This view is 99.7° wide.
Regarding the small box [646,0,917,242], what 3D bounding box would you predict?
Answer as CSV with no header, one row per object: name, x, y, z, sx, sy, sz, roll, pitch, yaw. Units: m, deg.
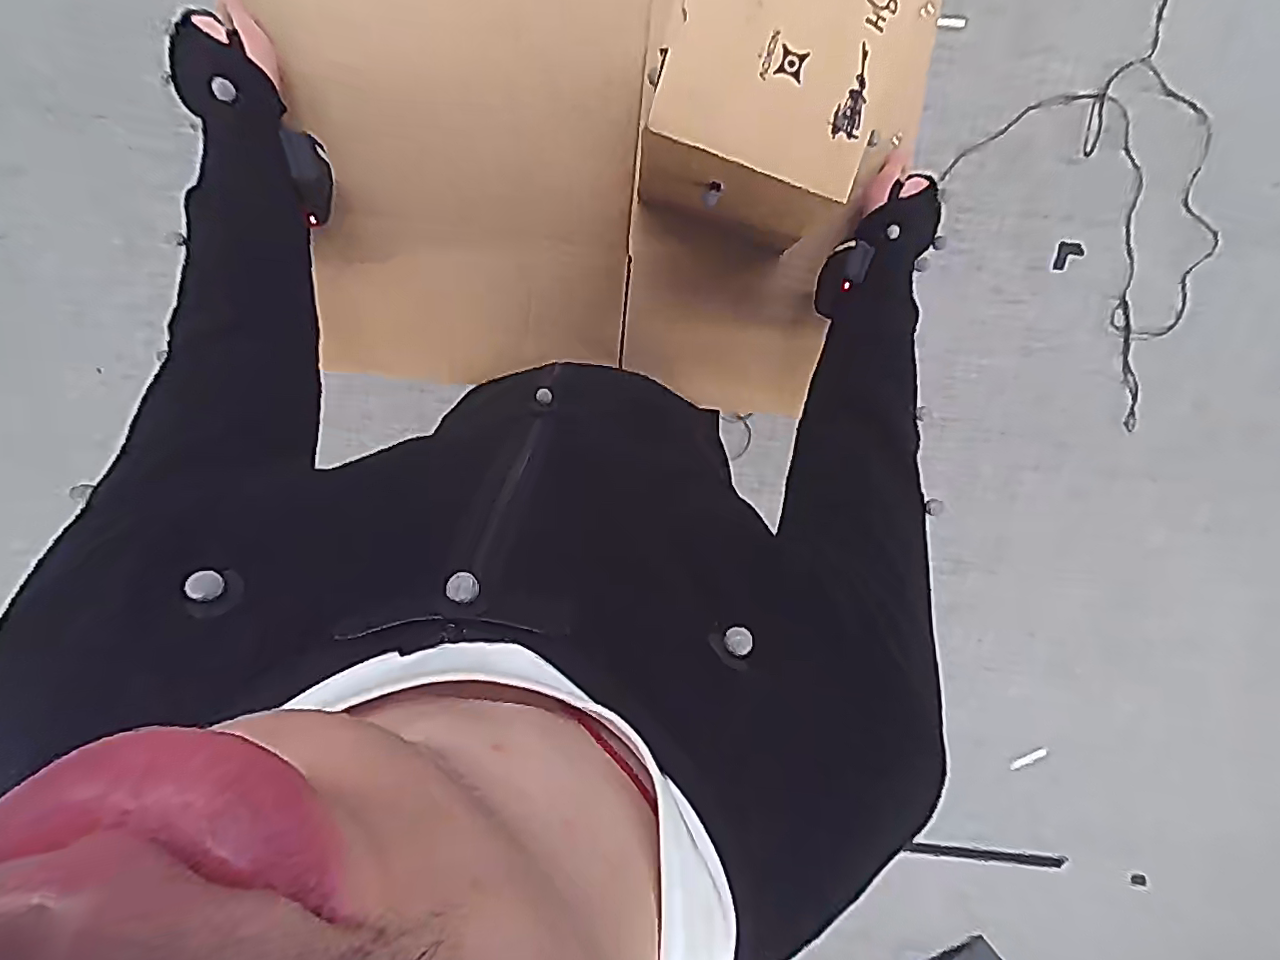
small box,0.110,-0.346,0.506,0.179,0.176,0.168,18,99,-4
